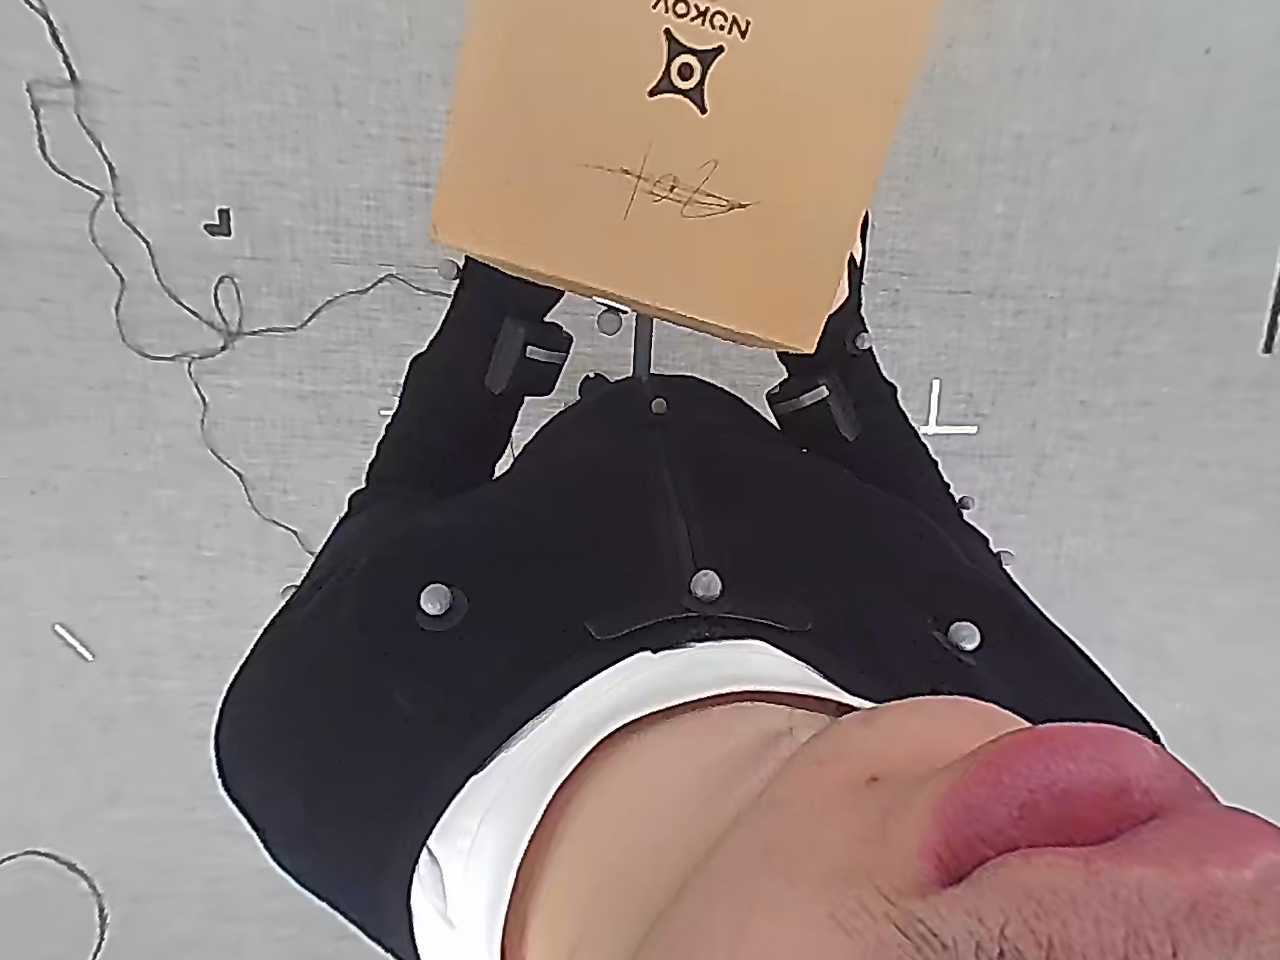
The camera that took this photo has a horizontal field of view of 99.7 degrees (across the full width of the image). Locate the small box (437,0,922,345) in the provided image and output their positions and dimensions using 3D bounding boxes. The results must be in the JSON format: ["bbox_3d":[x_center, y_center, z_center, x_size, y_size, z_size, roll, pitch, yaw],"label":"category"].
[{"bbox_3d":[0.017,-0.183,0.288,0.168,0.176,0.179,16,106,-3],"label":"small box"}]
